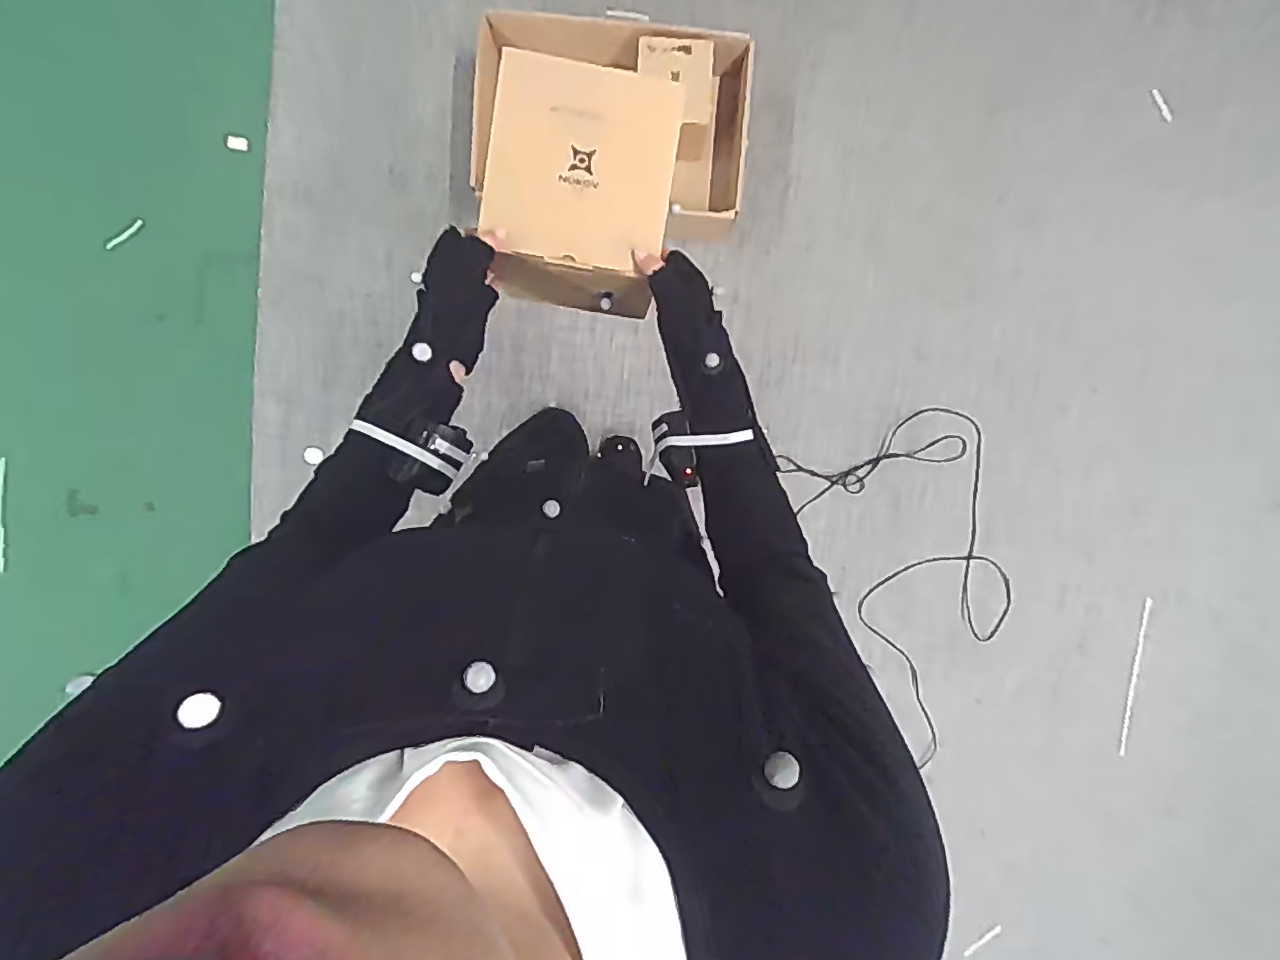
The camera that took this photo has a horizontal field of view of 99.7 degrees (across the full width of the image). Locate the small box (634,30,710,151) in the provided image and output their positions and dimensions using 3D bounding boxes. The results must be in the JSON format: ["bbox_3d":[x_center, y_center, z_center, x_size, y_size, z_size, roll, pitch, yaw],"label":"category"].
[{"bbox_3d":[0.070,-0.888,1.248,0.168,0.176,0.179,1,96,0],"label":"small box"}]

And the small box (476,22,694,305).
[{"bbox_3d":[-0.051,-0.289,0.540,0.168,0.176,0.179,9,93,-5],"label":"small box"}]
